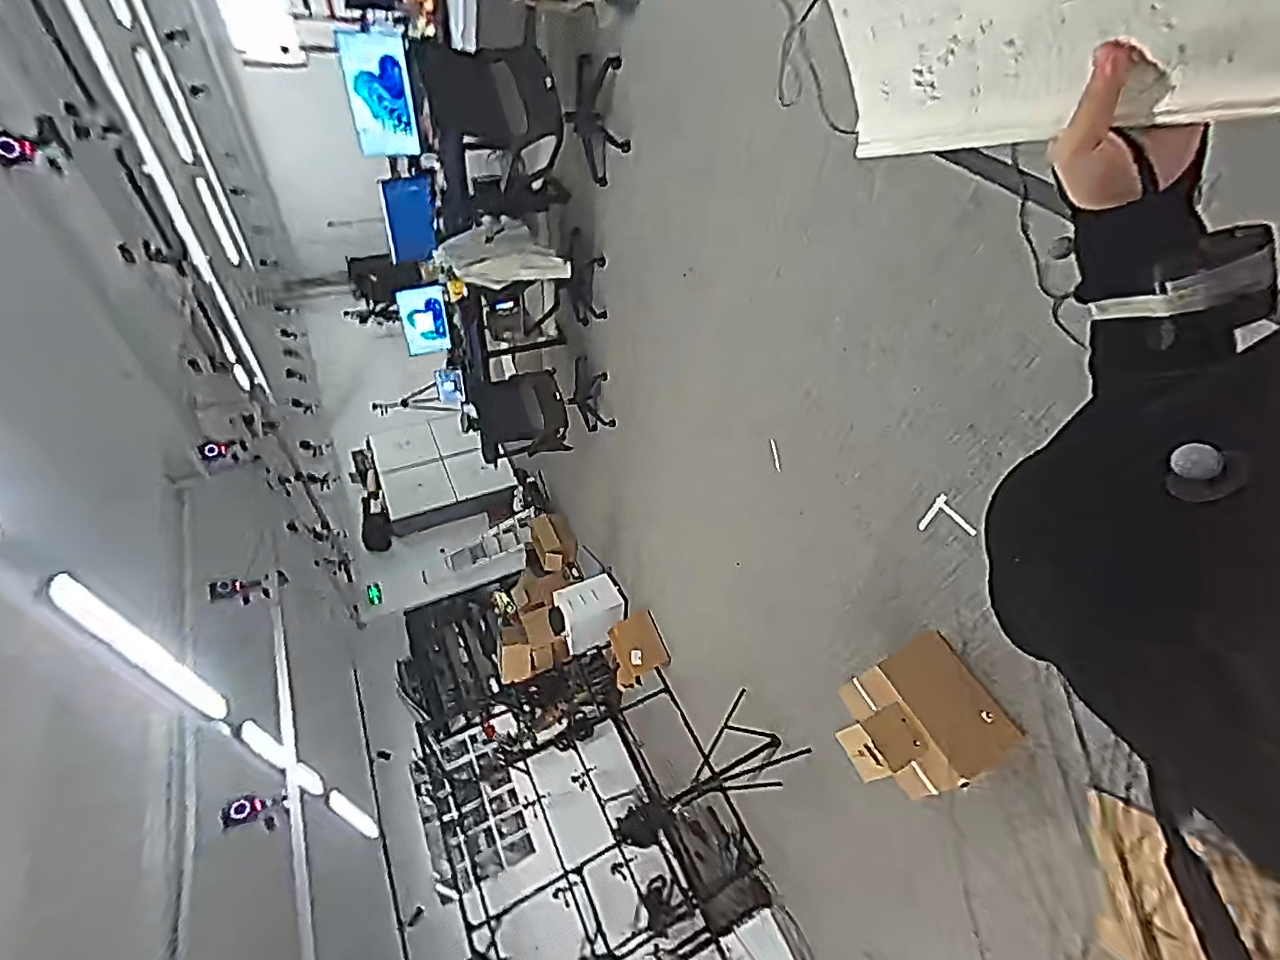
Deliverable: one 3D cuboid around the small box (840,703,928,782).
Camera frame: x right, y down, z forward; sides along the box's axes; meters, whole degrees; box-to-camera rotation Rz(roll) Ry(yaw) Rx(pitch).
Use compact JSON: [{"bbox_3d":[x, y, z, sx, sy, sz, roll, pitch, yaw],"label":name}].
[{"bbox_3d":[0.806,0.861,1.777,0.168,0.176,0.179,60,155,28],"label":"small box"}]
